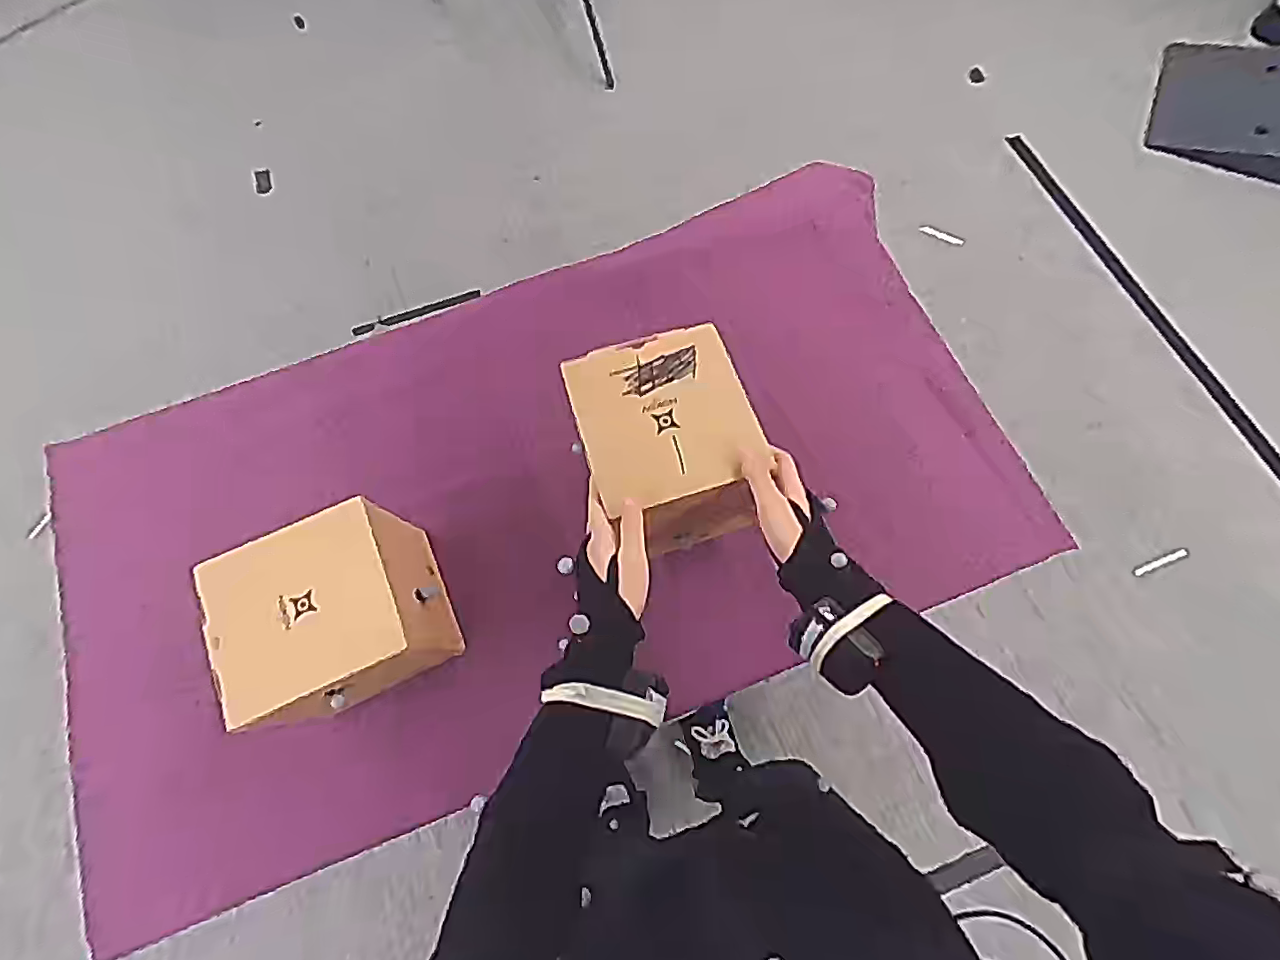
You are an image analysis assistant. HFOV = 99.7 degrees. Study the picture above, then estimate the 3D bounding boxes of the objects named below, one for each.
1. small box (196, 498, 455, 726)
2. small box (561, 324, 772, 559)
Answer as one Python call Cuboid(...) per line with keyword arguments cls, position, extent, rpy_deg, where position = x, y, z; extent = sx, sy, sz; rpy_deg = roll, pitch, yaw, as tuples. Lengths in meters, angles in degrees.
Cuboid(cls="small box", position=(-0.325, 0.143, 0.597), extent=(0.179, 0.176, 0.168), rpy_deg=(-25, 74, -5))
Cuboid(cls="small box", position=(0.021, -0.033, 0.590), extent=(0.168, 0.176, 0.179), rpy_deg=(-16, 68, -5))
